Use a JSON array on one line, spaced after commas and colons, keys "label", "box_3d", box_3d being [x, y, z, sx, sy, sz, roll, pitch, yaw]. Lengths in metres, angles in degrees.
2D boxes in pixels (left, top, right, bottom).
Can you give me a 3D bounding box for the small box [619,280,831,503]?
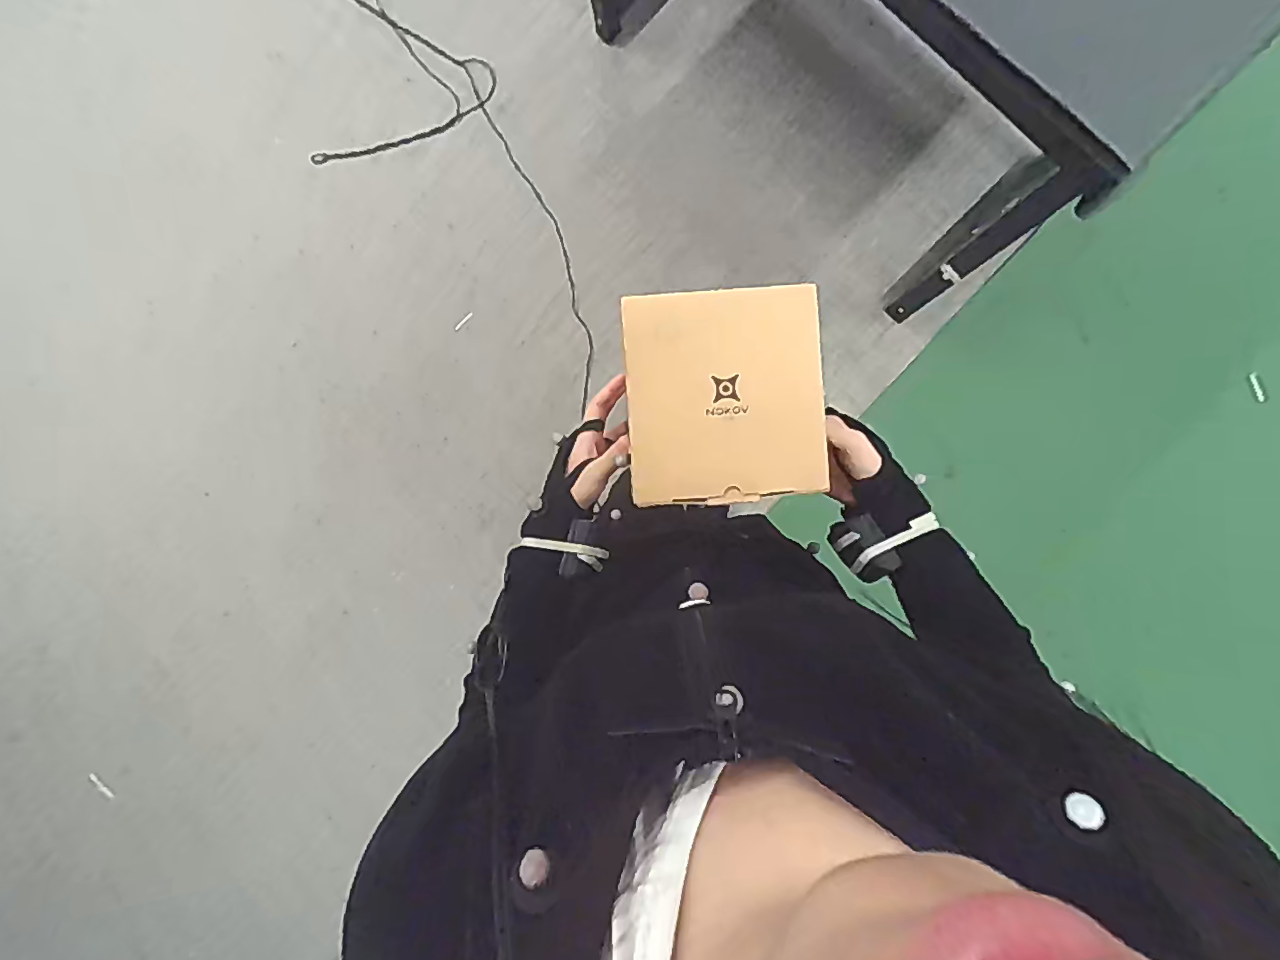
[{"label": "small box", "box_3d": [0.066, -0.072, 0.520, 0.168, 0.176, 0.179, -5, 91, -1]}]
